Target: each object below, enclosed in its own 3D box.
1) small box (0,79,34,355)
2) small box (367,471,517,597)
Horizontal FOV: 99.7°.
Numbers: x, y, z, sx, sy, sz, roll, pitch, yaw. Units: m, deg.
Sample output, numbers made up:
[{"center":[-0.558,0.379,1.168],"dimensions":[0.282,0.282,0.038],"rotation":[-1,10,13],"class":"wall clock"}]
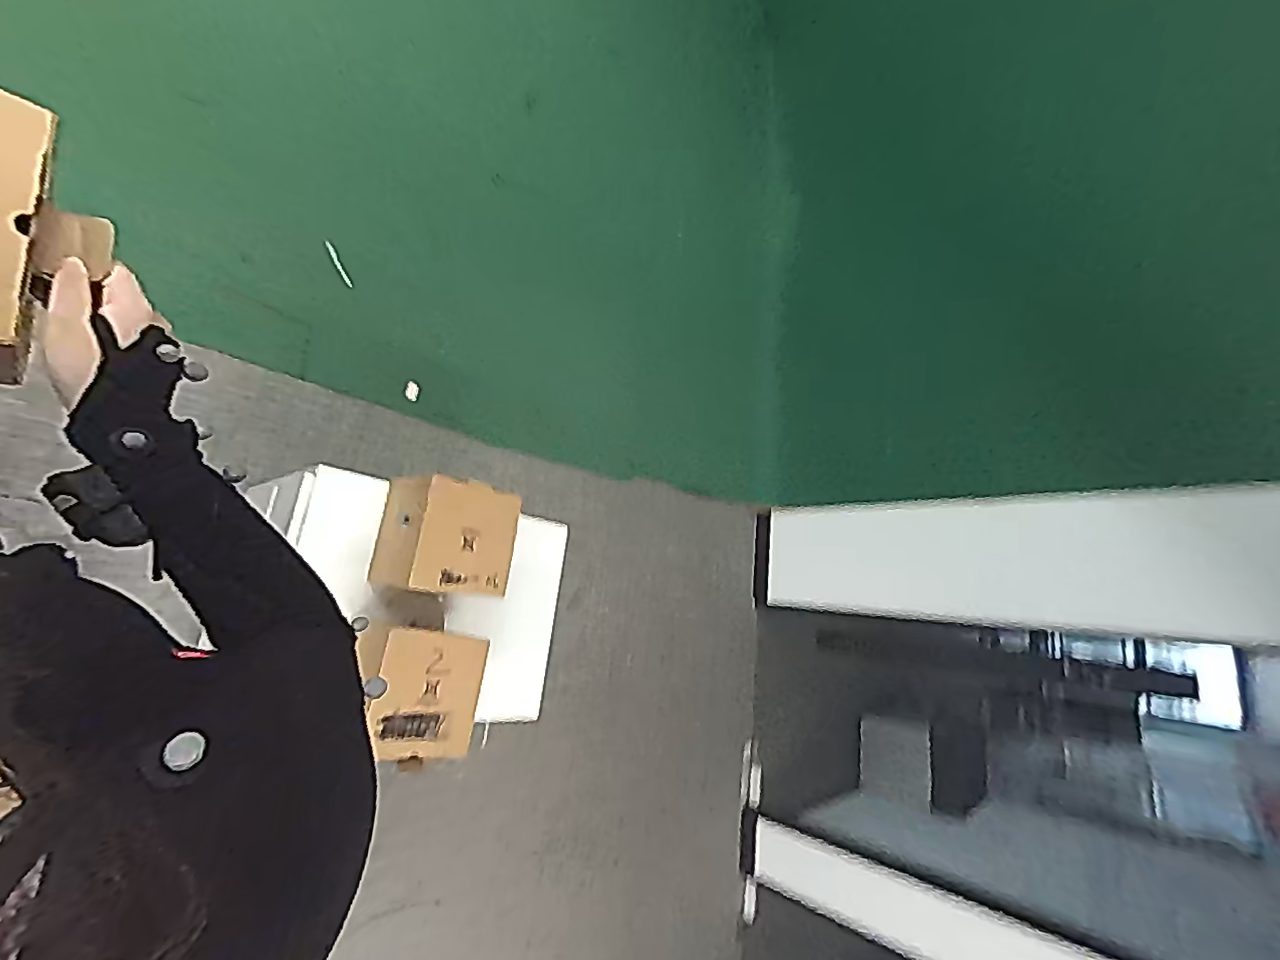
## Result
[{"center":[-0.519,-0.179,0.334],"dimensions":[0.179,0.176,0.168],"rotation":[8,82,-50],"class":"small box"},{"center":[-0.333,0.095,0.907],"dimensions":[0.168,0.176,0.179],"rotation":[20,72,-43],"class":"small box"}]
